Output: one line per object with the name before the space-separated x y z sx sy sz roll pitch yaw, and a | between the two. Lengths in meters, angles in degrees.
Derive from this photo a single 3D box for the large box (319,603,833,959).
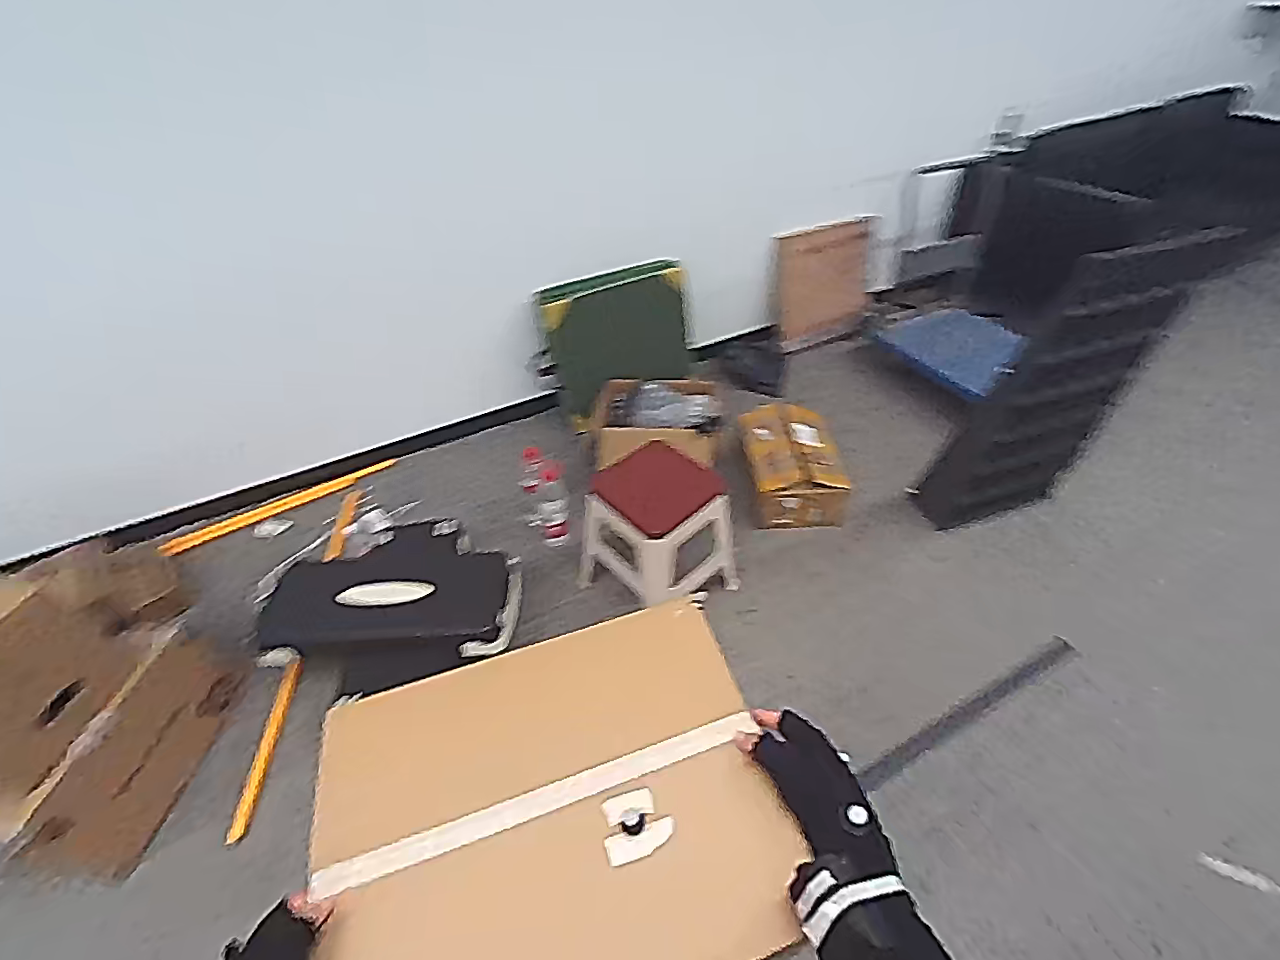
large box | -0.071 0.400 0.595 0.408 0.320 0.320 -14 45 -11
